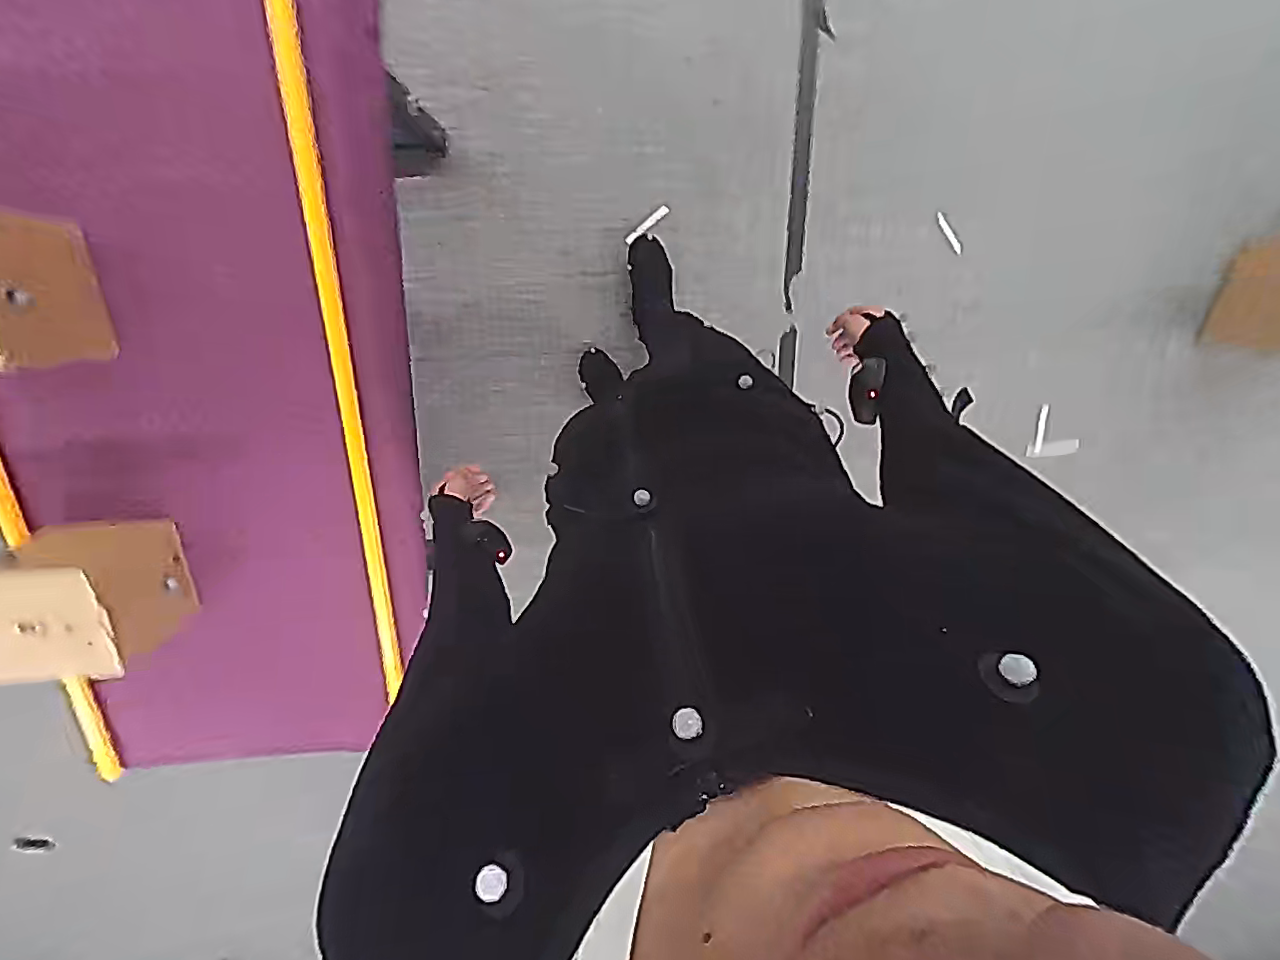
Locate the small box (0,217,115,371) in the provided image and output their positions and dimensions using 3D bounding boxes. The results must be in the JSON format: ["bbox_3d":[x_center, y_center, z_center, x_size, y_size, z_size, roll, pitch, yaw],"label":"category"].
[{"bbox_3d":[-0.821,-0.230,0.667,0.168,0.176,0.179,-3,109,-6],"label":"small box"}]

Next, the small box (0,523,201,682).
[{"bbox_3d":[-0.812,0.172,0.799,0.179,0.176,0.168,-3,109,-6],"label":"small box"}]
